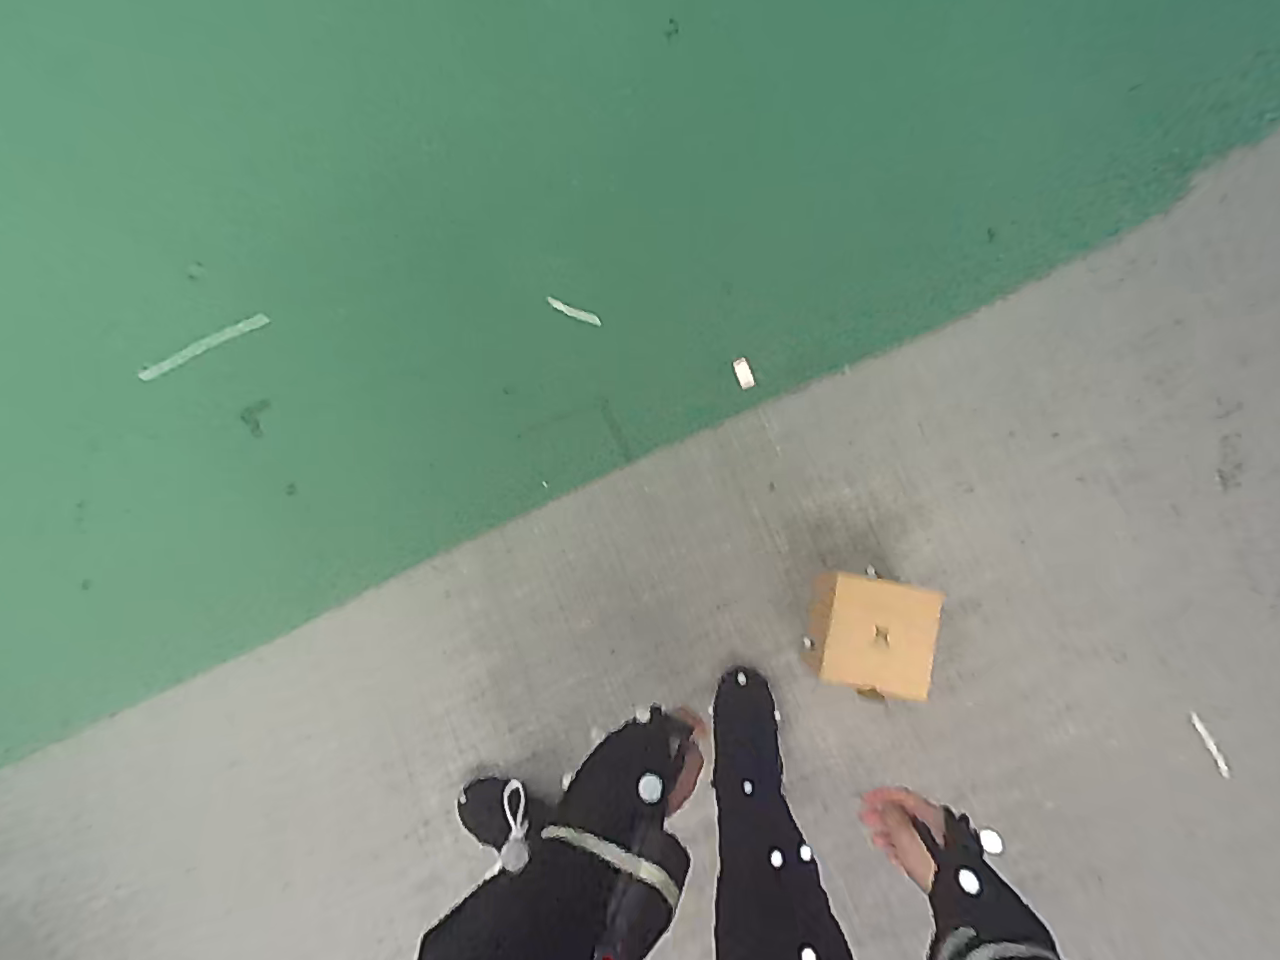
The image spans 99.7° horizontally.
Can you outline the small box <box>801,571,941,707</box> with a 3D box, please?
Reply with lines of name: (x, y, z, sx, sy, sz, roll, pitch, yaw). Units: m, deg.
small box: (0.384, 0.261, 0.929, 0.168, 0.176, 0.179, 11, 84, 5)
